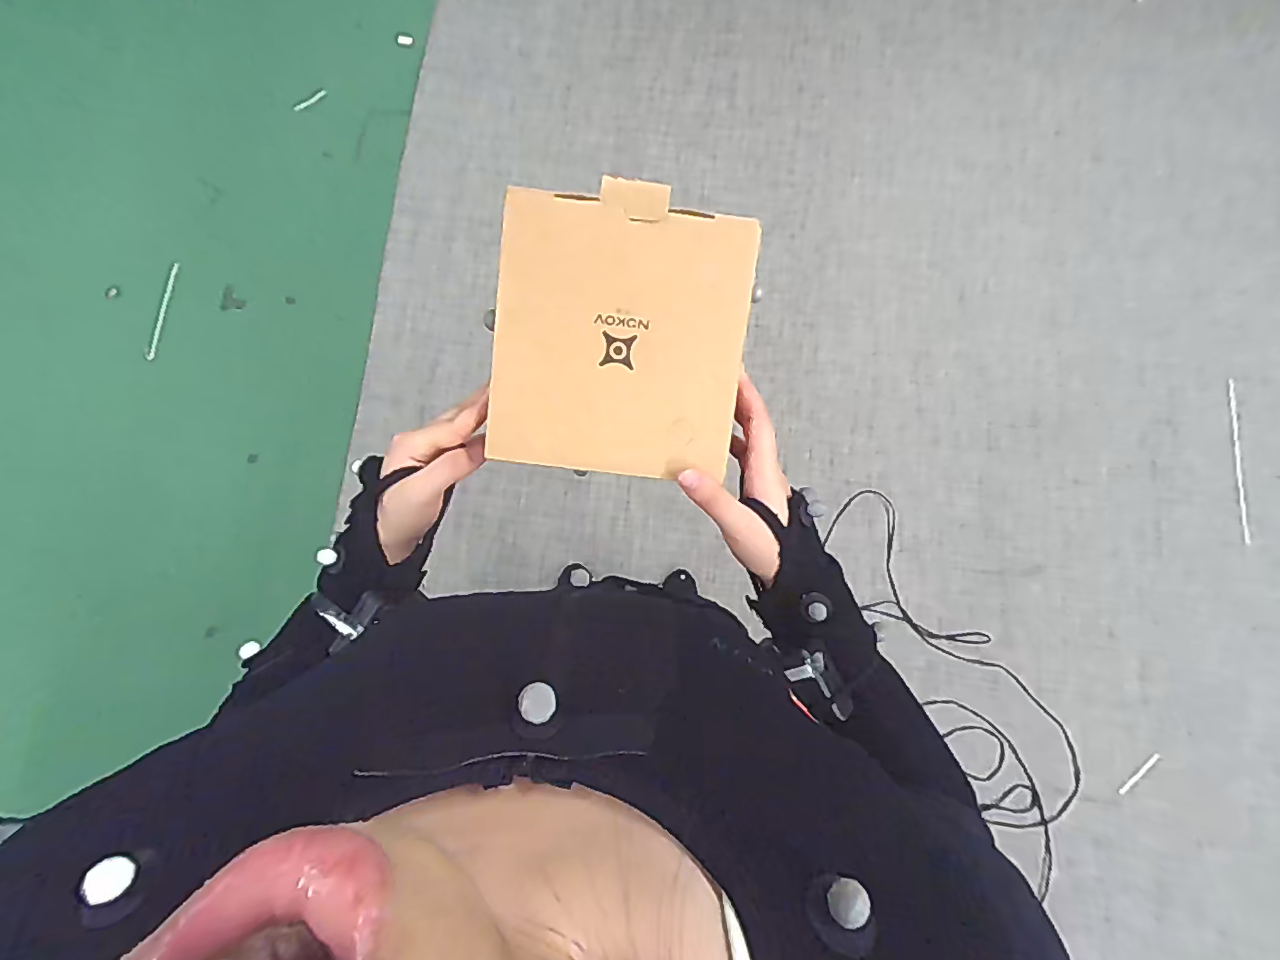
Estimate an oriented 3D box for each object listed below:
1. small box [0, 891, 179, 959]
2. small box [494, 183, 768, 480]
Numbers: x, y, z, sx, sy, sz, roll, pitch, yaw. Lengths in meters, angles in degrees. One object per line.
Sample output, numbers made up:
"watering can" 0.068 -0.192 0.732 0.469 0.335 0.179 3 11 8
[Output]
"small box" -0.689 0.633 0.619 0.168 0.176 0.179 25 84 5
"small box" -0.009 -0.105 0.434 0.168 0.176 0.179 6 98 -2
